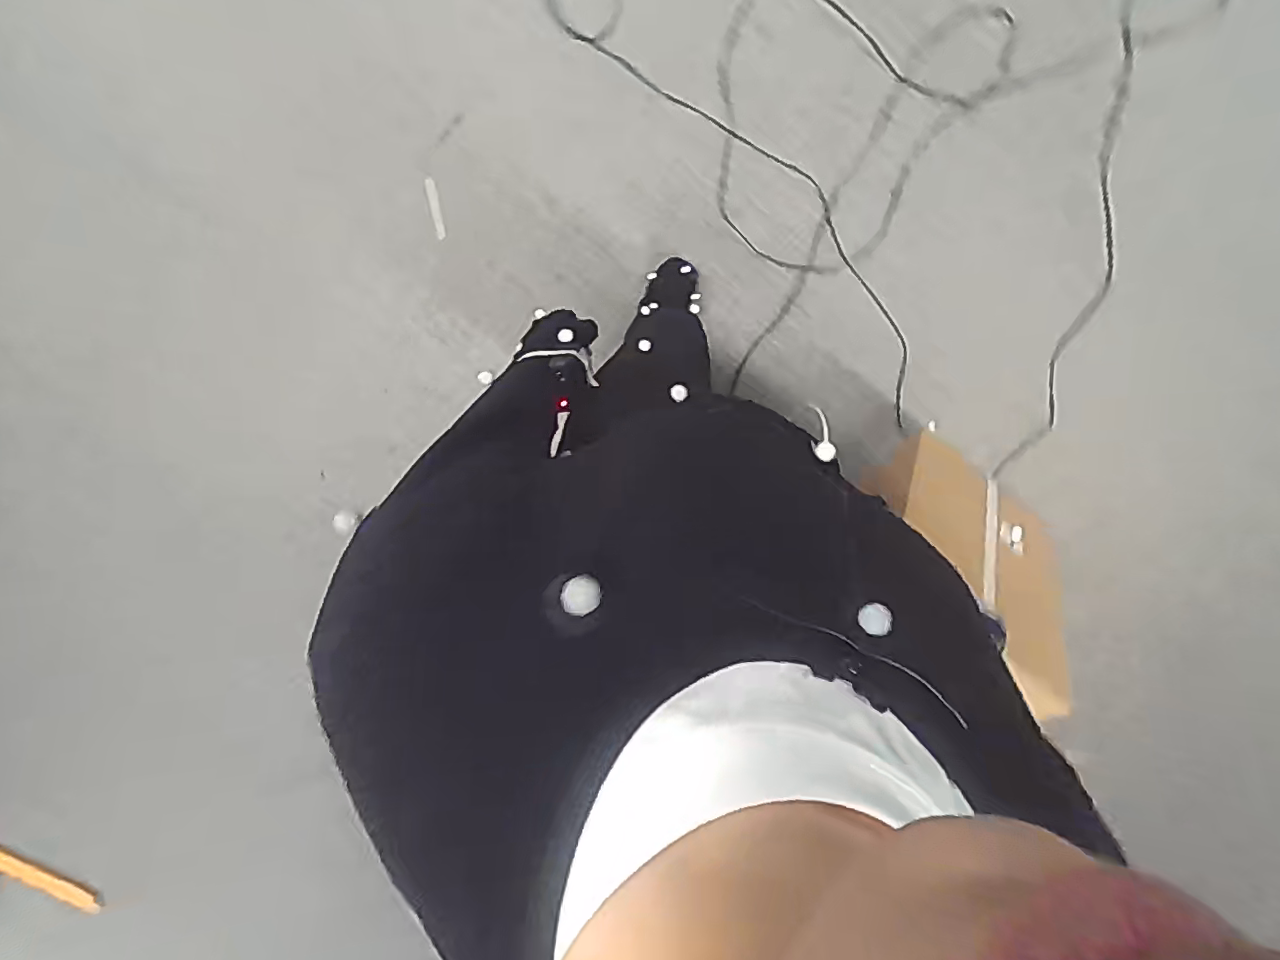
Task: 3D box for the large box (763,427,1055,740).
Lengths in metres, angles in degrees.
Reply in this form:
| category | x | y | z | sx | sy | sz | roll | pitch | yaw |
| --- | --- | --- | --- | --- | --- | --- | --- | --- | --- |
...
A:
| category | x | y | z | sx | sy | sz | roll | pitch | yaw |
| --- | --- | --- | --- | --- | --- | --- | --- | --- | --- |
| large box | 0.482 | 0.184 | 0.996 | 0.320 | 0.408 | 0.320 | 40 | 135 | 0 |
